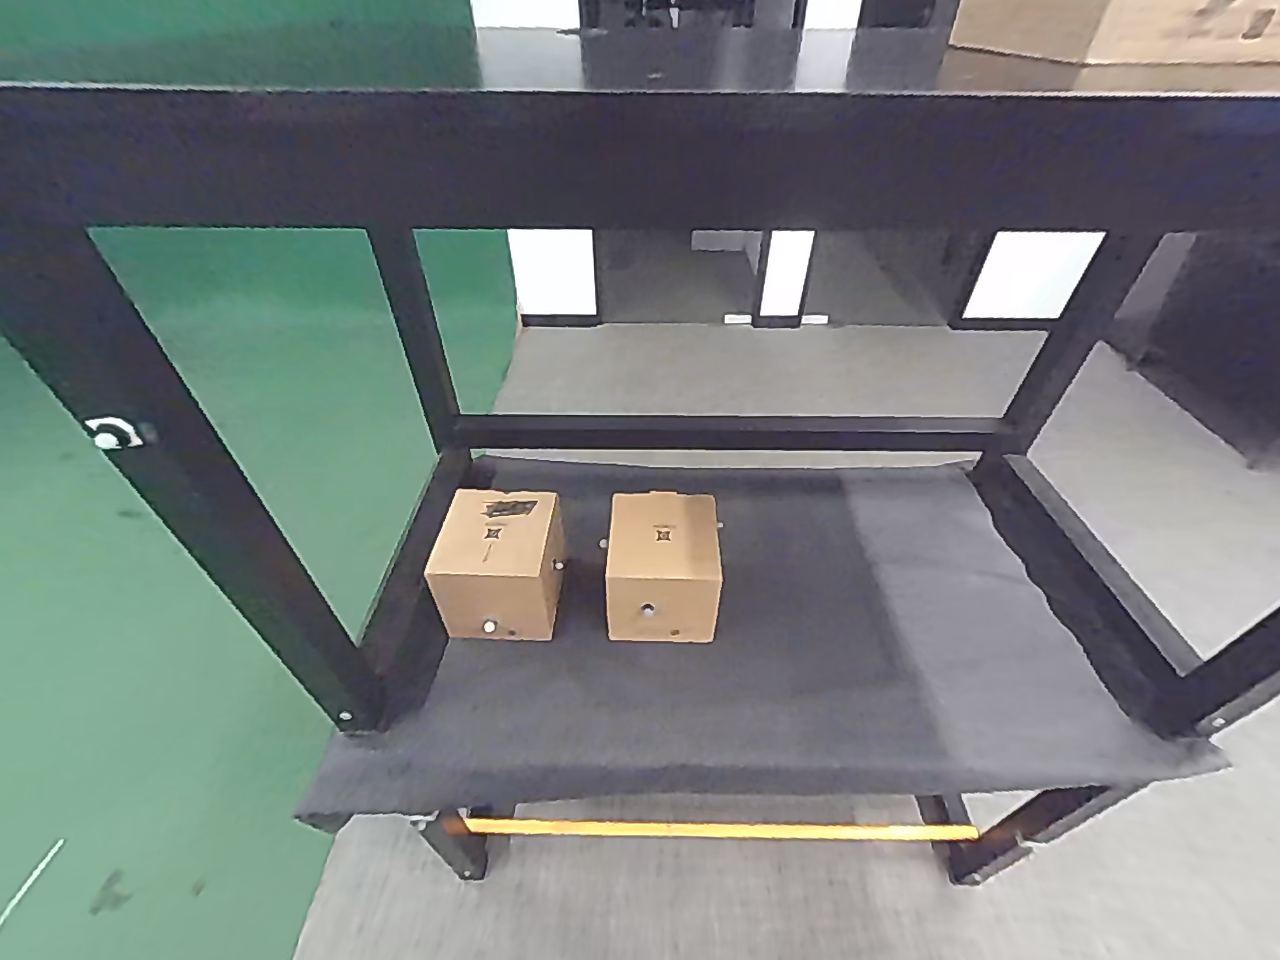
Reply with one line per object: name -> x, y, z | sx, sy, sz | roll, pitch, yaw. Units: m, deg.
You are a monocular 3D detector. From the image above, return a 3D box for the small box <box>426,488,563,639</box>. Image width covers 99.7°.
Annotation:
small box -> -0.221, 0.134, 0.875 | 0.168, 0.176, 0.179 | 1, 42, 1

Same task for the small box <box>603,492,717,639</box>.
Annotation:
small box -> 0.032, 0.139, 0.875 | 0.168, 0.176, 0.179 | 1, 42, 1
